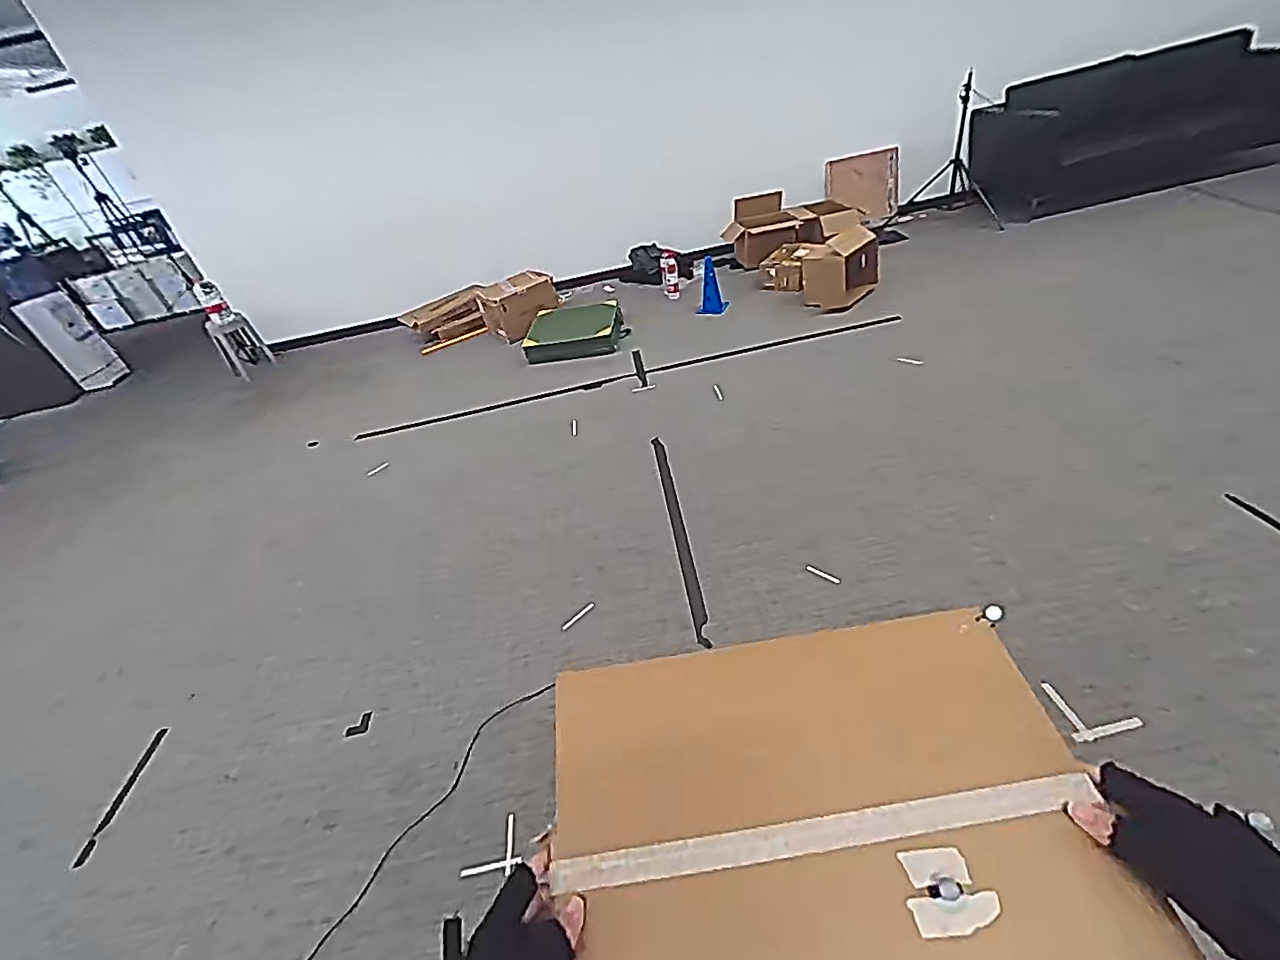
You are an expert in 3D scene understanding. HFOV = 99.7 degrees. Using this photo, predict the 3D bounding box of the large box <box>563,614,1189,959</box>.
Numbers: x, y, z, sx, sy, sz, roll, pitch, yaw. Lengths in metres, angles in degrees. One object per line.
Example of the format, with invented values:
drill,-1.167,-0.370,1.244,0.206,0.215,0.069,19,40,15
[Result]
large box,0.157,0.374,0.518,0.408,0.320,0.320,-10,46,-1
